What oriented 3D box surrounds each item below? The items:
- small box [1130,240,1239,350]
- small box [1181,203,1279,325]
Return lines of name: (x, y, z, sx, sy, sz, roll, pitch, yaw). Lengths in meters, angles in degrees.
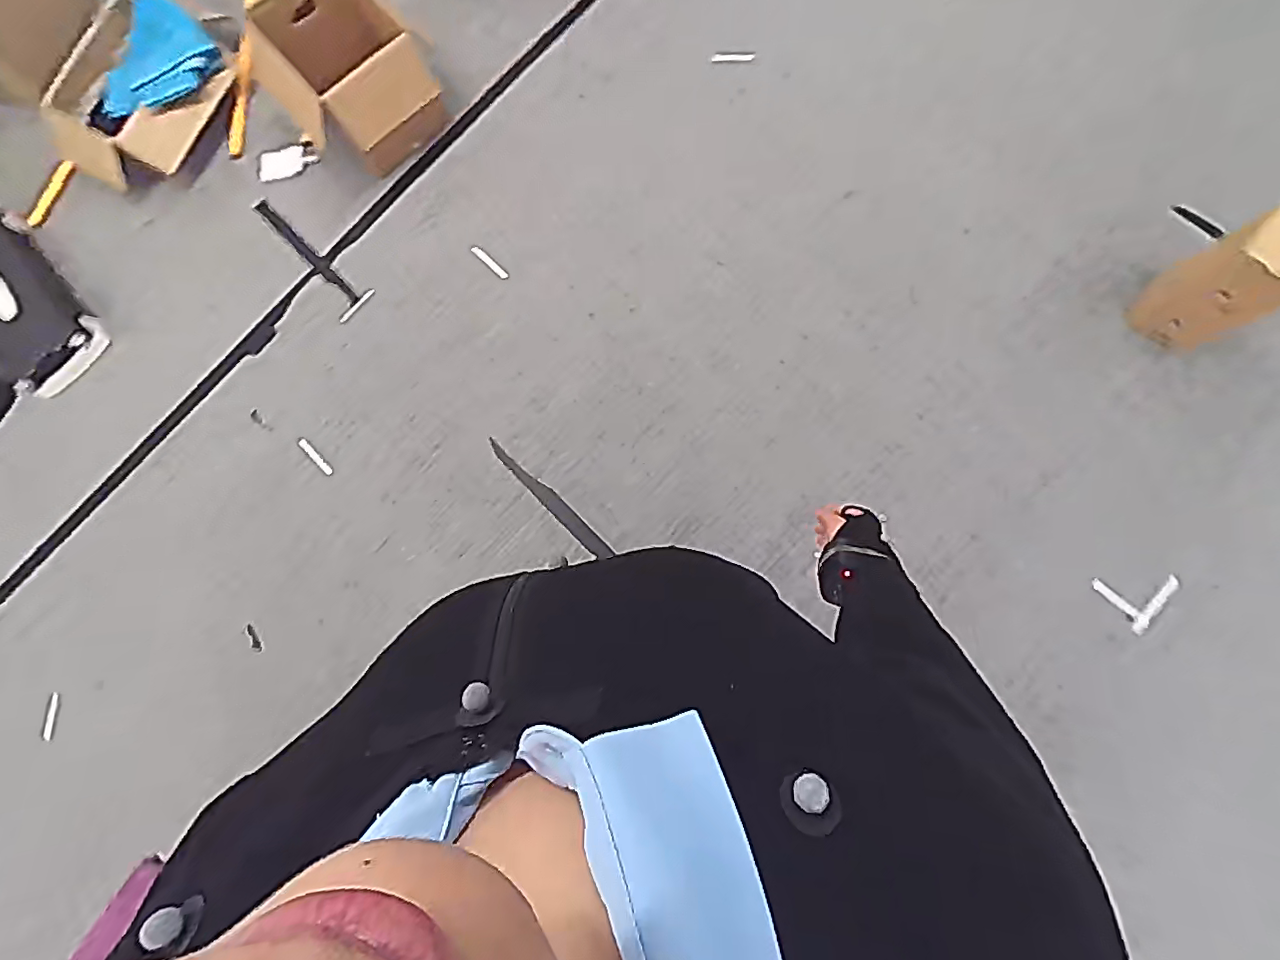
small box: (1.441, -0.471, 1.402, 0.168, 0.176, 0.179, 39, 86, 9)
small box: (1.427, -0.495, 1.242, 0.168, 0.176, 0.179, 40, 88, 10)
